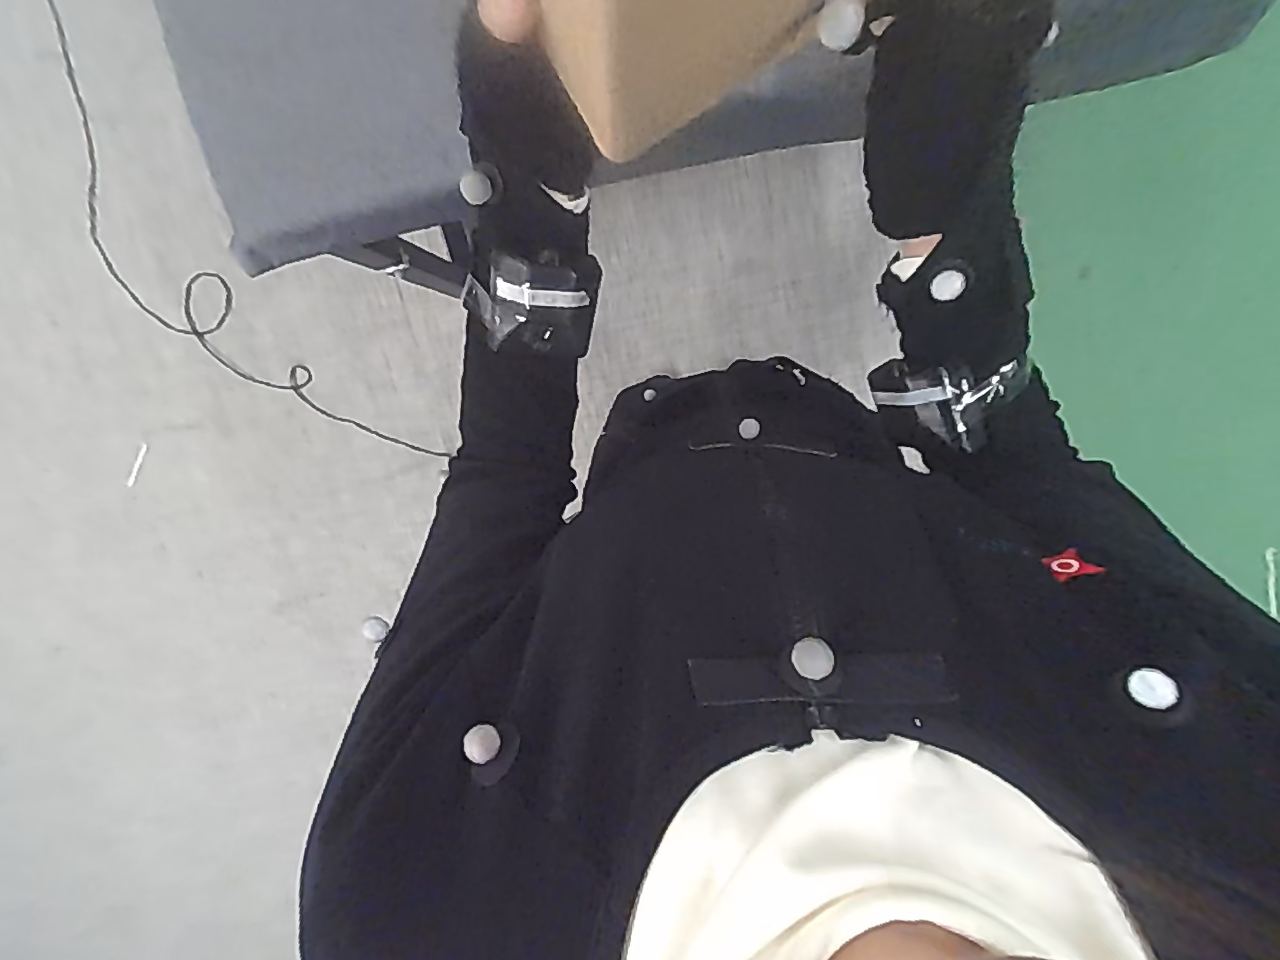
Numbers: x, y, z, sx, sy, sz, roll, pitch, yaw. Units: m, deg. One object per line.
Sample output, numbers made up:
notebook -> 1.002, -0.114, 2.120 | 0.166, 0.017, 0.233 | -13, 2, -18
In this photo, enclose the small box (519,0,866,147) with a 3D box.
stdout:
small box -> 0.025, -0.231, 0.135 | 0.179, 0.176, 0.168 | -31, 102, 4
